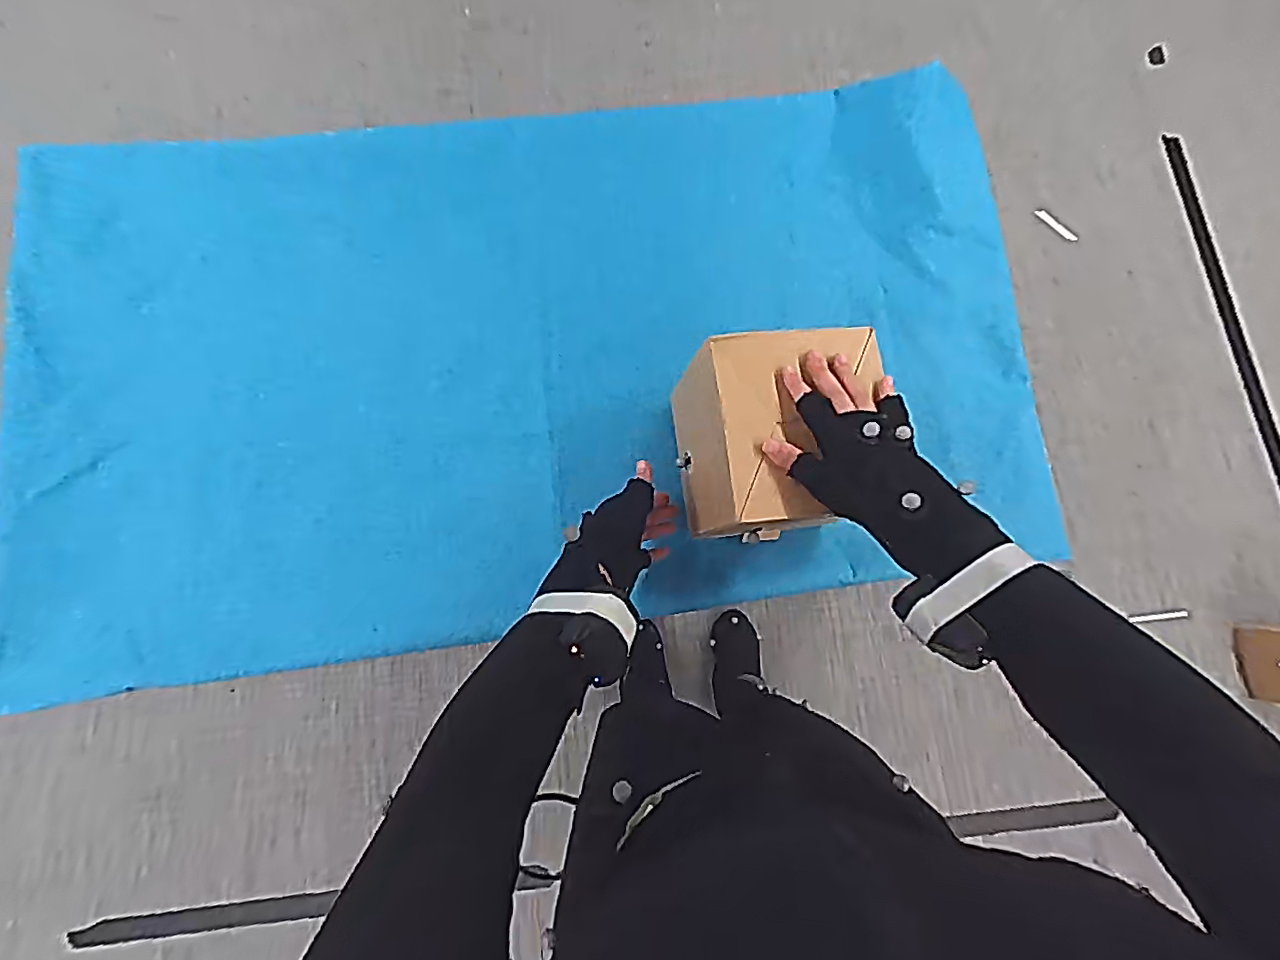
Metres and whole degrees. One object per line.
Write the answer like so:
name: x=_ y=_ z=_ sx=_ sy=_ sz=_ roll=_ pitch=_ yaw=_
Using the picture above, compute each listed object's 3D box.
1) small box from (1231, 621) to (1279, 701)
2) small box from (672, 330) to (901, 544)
small box: x=1.568 y=0.429 z=1.266 sx=0.168 sy=0.176 sz=0.179 roll=-4 pitch=79 yaw=-3
small box: x=0.141 y=-0.035 z=0.567 sx=0.168 sy=0.176 sz=0.179 roll=-6 pitch=79 yaw=-11
